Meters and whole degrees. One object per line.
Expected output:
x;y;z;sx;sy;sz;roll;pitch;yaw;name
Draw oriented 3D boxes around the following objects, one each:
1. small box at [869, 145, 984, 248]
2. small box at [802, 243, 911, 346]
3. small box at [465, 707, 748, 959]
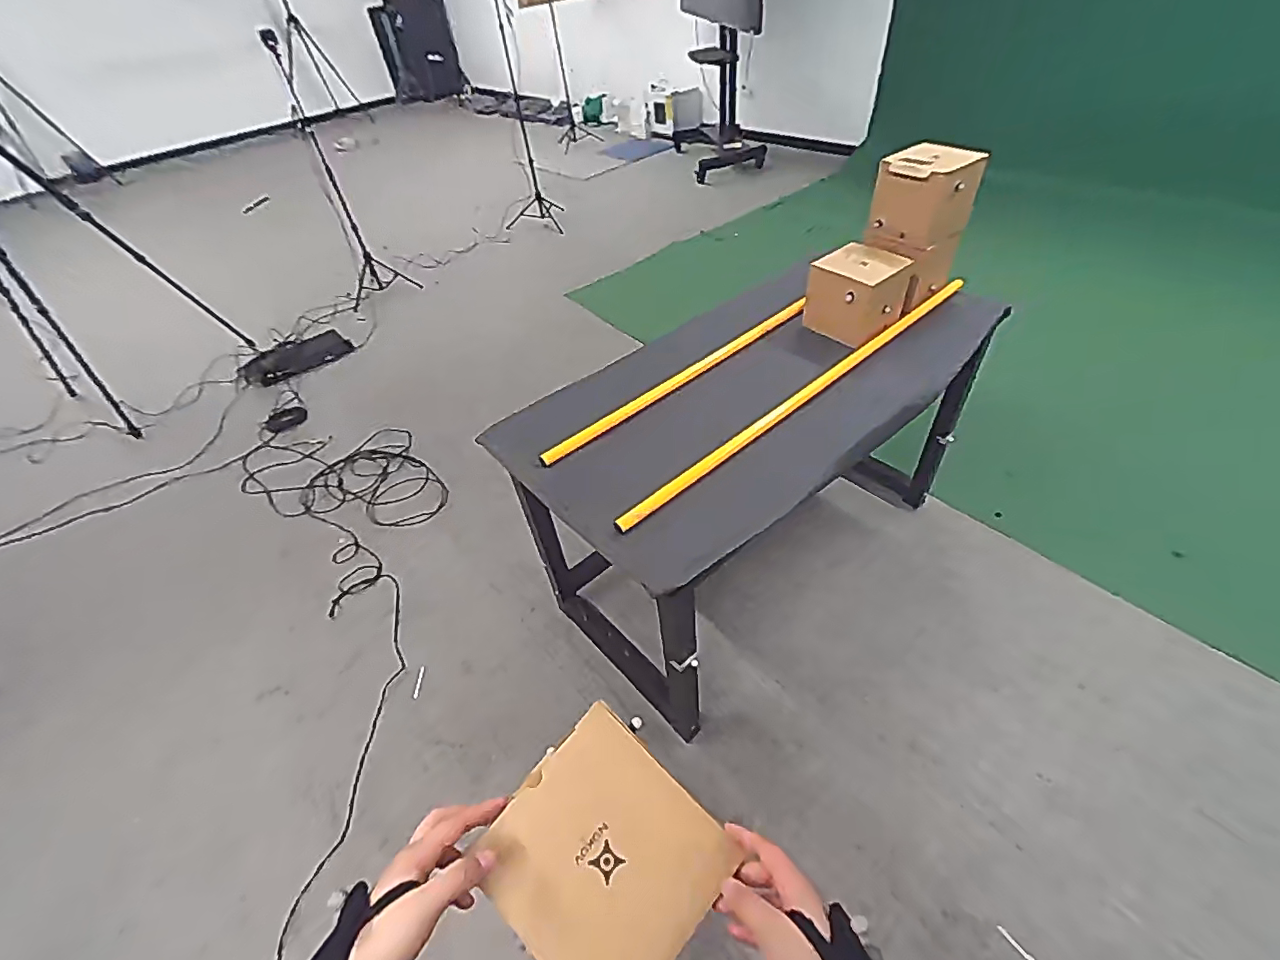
0.683;-0.688;1.314;0.179;0.176;0.168;-31;51;-22;small box
0.527;-0.454;1.337;0.168;0.176;0.179;-32;50;-23;small box
-0.028;0.343;0.513;0.179;0.176;0.168;40;69;17;small box
